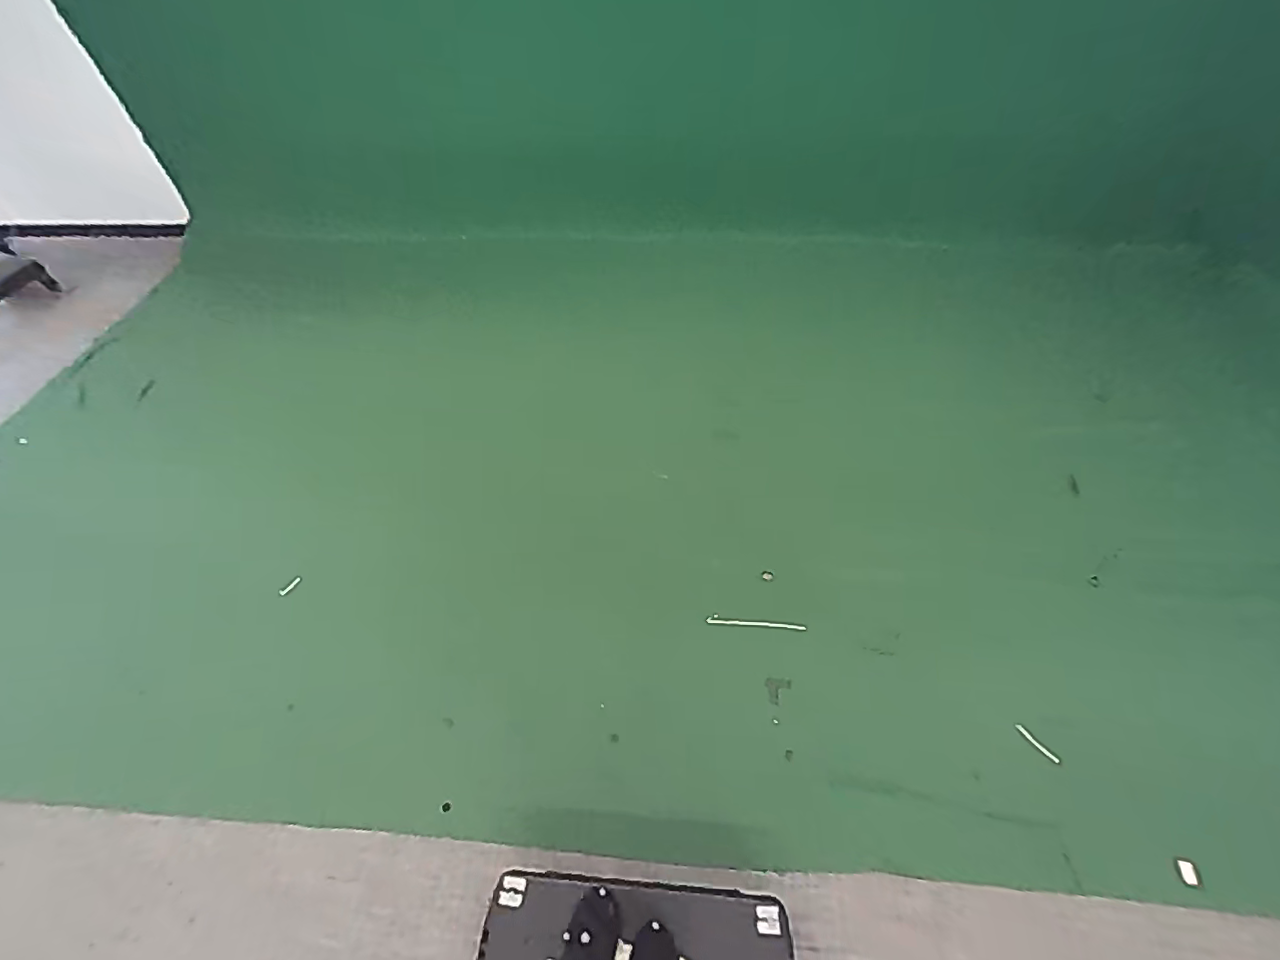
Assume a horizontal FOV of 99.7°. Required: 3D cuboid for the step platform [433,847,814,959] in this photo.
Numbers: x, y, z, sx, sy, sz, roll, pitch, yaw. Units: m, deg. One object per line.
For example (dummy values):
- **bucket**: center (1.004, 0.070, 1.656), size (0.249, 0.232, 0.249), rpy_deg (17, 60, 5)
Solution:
- **step platform**: center (-0.029, 0.904, 1.037), size (0.684, 0.204, 0.286), rpy_deg (2, 53, 4)
